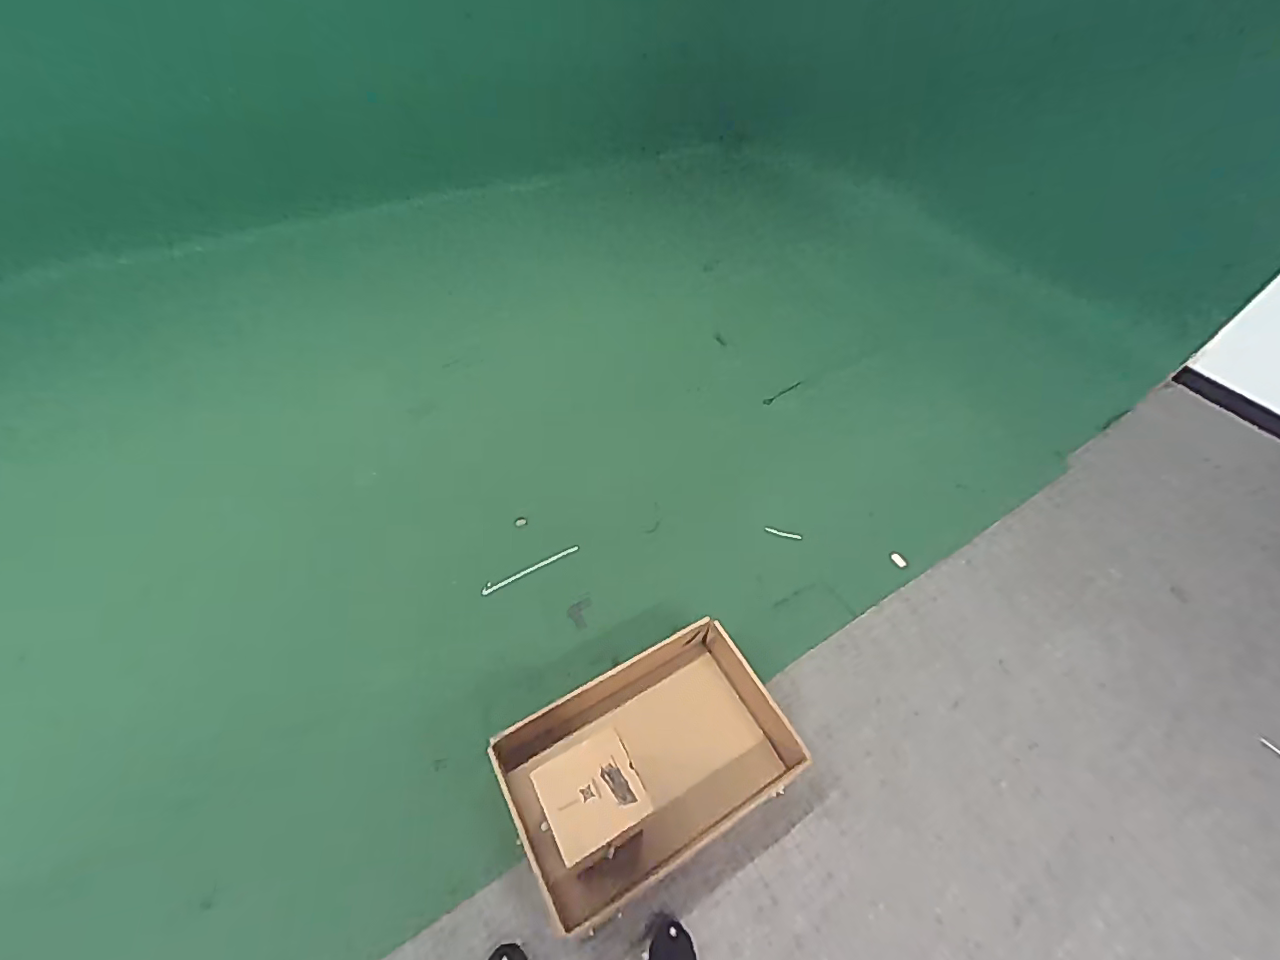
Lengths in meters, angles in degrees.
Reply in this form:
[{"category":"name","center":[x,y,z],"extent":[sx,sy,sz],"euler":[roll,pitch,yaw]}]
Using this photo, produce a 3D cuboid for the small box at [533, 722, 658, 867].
[{"category":"small box","center":[-0.086,0.593,1.021],"extent":[0.179,0.176,0.168],"euler":[-23,57,-20]}]
